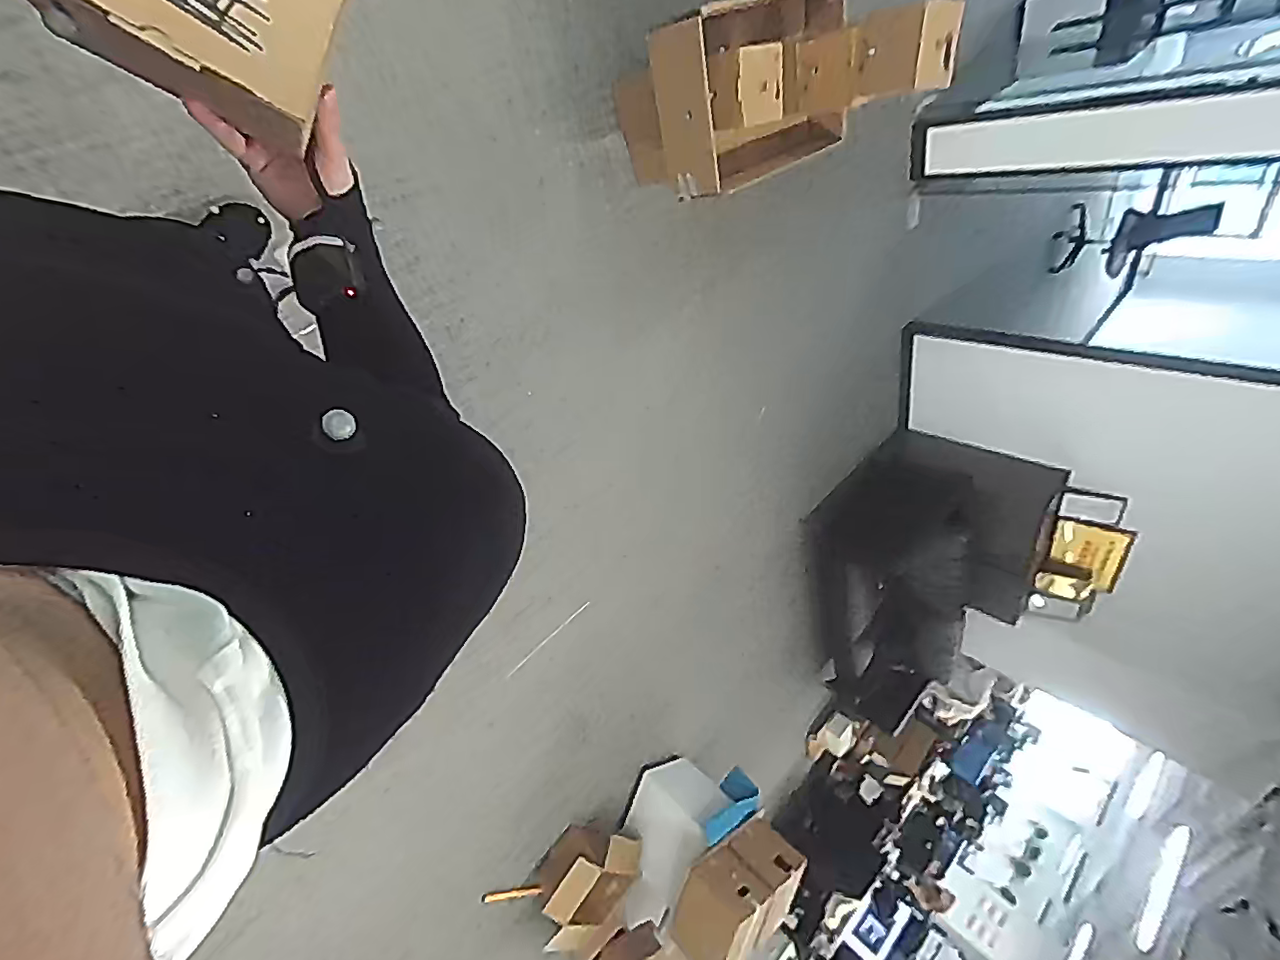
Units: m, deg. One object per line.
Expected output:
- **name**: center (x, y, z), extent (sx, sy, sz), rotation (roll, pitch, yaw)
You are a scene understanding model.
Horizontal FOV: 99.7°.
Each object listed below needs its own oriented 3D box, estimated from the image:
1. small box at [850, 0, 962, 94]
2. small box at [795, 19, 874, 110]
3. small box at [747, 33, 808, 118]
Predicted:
- **small box**: center (0.639, -1.047, 1.309), extent (0.179, 0.176, 0.168), rotation (-27, 127, -30)
- **small box**: center (0.531, -1.097, 1.423), extent (0.179, 0.176, 0.168), rotation (-36, 131, -24)
- **small box**: center (0.429, -1.152, 1.535), extent (0.179, 0.176, 0.168), rotation (-36, 130, -25)
